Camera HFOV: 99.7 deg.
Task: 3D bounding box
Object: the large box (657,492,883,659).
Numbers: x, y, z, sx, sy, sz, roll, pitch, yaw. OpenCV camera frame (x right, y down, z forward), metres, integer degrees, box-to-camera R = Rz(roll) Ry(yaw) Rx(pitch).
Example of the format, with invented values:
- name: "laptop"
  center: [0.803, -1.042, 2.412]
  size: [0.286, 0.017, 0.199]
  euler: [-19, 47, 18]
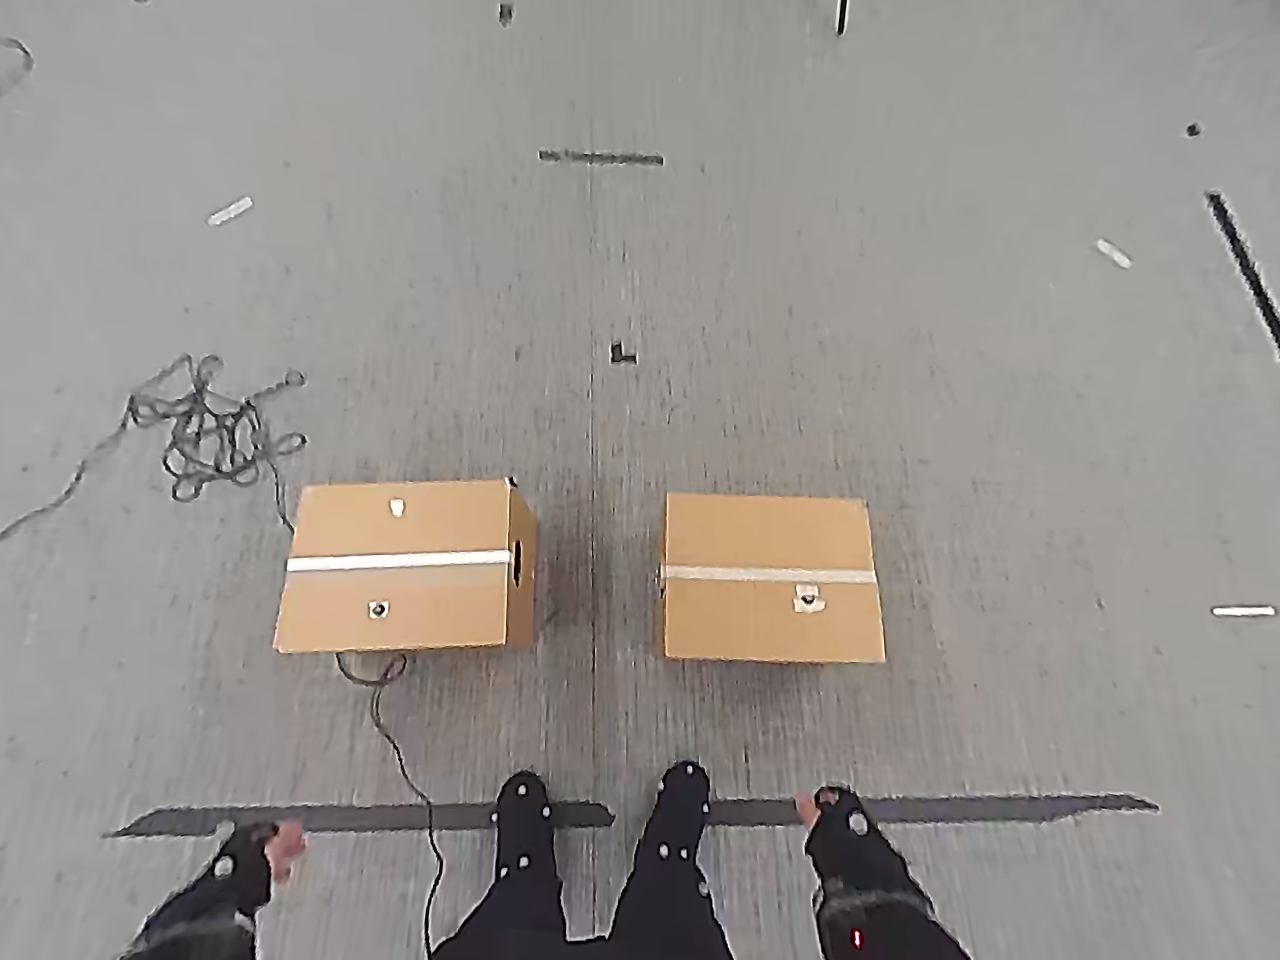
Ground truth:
- name: "large box"
  center: [0.246, 0.224, 1.177]
  size: [0.408, 0.320, 0.320]
  euler: [2, 71, -2]
